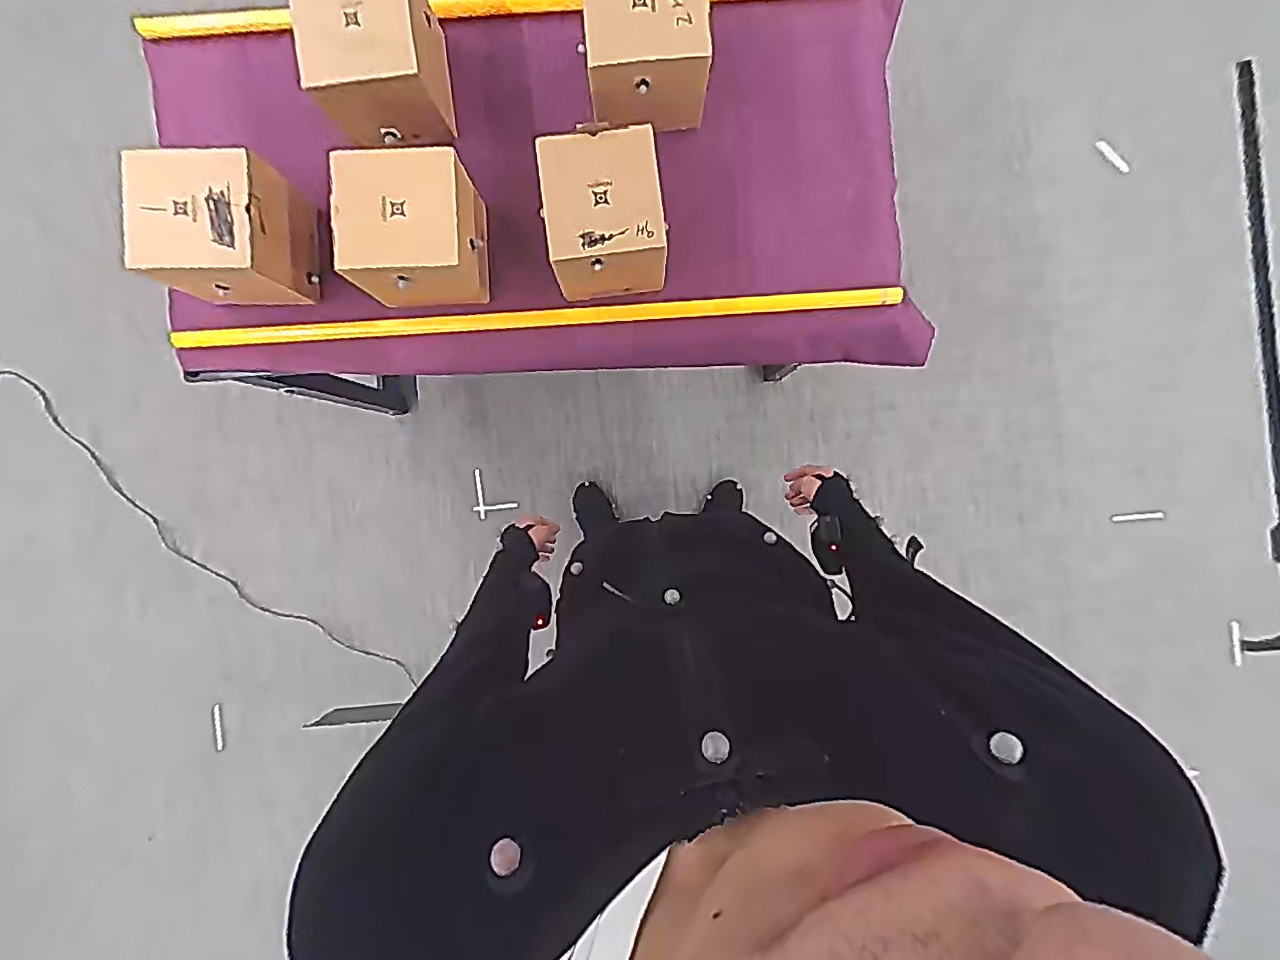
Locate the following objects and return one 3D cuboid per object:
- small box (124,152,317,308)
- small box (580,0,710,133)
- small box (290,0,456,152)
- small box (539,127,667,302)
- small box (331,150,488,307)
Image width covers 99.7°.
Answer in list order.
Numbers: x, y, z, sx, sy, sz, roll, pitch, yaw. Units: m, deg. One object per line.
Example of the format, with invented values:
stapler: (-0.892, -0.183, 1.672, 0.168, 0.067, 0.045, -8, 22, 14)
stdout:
small box: (-0.620, -0.369, 0.823, 0.179, 0.176, 0.168, 0, 91, 0)
small box: (0.006, -0.656, 0.821, 0.179, 0.176, 0.168, -4, 92, 0)
small box: (-0.395, -0.636, 0.822, 0.168, 0.176, 0.179, -7, 92, 1)
small box: (-0.052, -0.393, 0.825, 0.168, 0.176, 0.179, -7, 89, 0)
small box: (-0.337, -0.372, 0.826, 0.179, 0.176, 0.168, -2, 91, 1)
